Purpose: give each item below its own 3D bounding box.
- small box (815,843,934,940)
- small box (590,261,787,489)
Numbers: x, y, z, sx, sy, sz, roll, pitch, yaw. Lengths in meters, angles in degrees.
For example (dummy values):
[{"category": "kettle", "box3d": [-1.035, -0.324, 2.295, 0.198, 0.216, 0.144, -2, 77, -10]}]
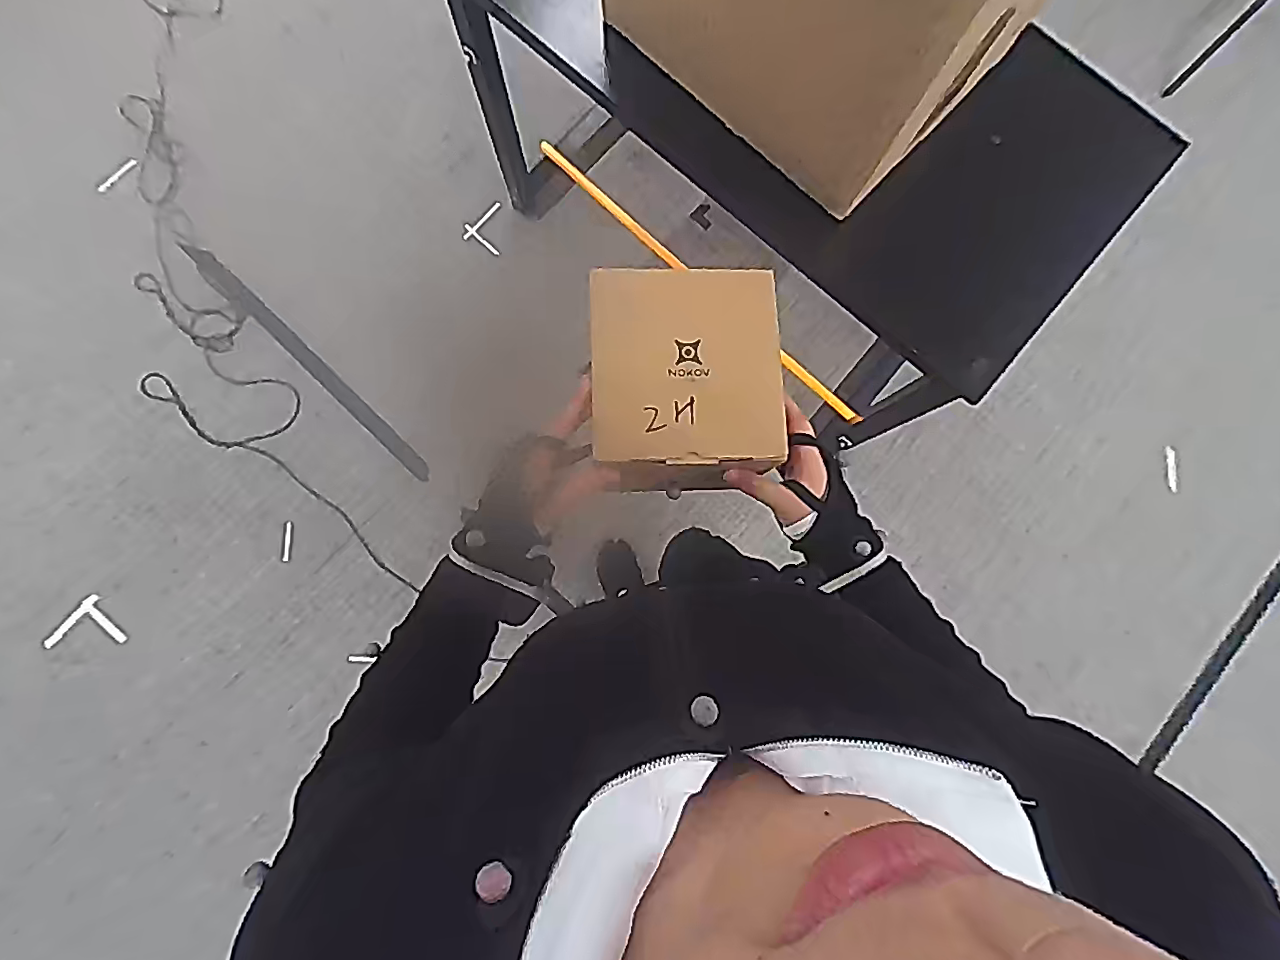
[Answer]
[{"category": "small box", "box3d": [0.568, 1.050, 1.333, 0.179, 0.176, 0.168, 37, 82, 4]}, {"category": "small box", "box3d": [0.034, -0.091, 0.536, 0.168, 0.176, 0.179, -1, 80, -4]}]
